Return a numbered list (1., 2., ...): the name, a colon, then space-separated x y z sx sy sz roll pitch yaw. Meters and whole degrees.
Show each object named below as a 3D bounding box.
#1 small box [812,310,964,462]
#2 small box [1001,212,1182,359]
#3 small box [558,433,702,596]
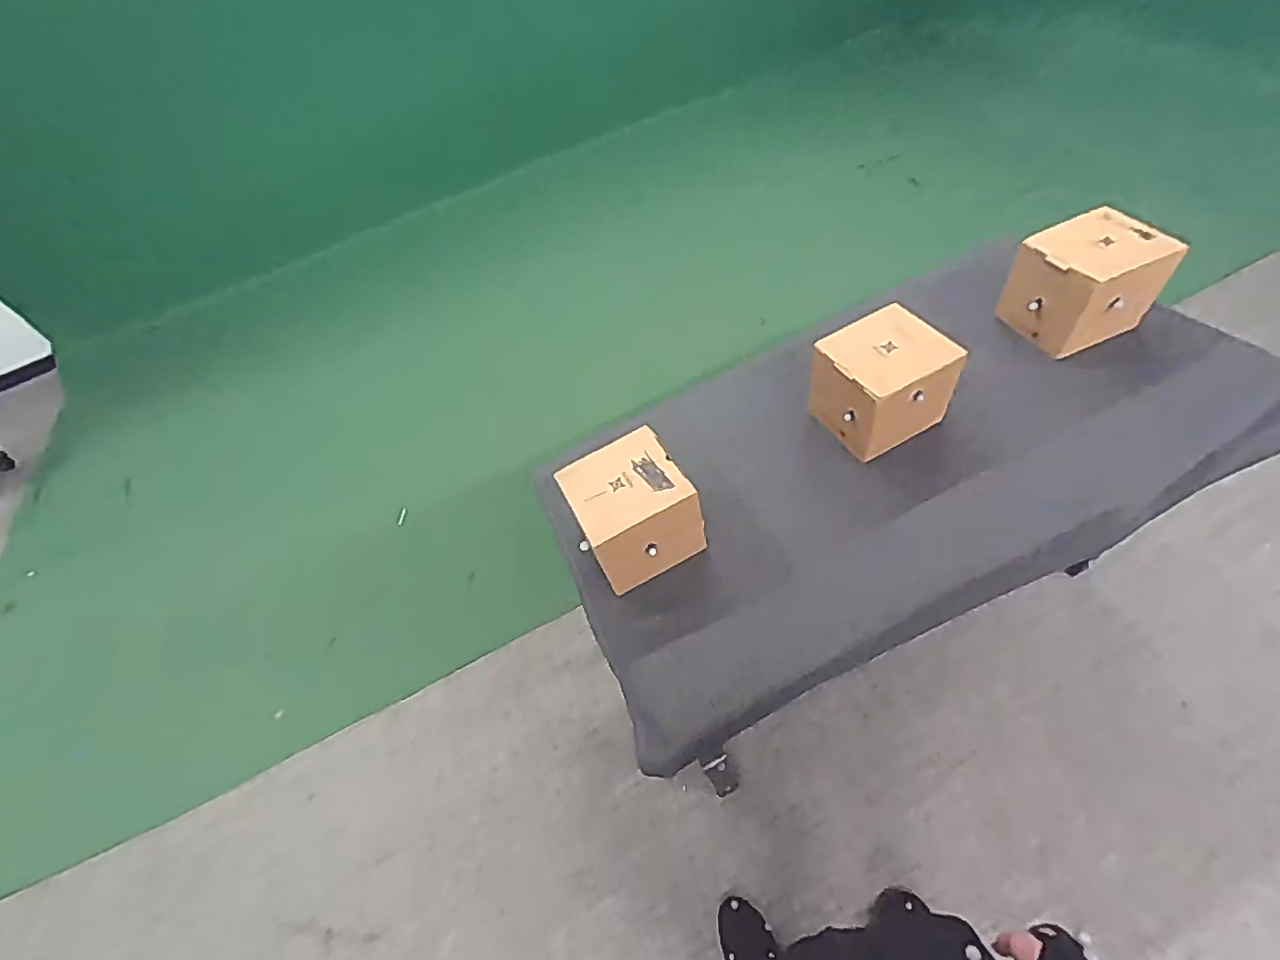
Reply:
1. small box: 0.423 -0.162 0.959 0.179 0.176 0.168 -27 54 -9
2. small box: 0.812 -0.355 1.003 0.179 0.176 0.168 -23 53 -3
3. small box: -0.009 0.060 0.894 0.179 0.176 0.168 -28 52 -7
